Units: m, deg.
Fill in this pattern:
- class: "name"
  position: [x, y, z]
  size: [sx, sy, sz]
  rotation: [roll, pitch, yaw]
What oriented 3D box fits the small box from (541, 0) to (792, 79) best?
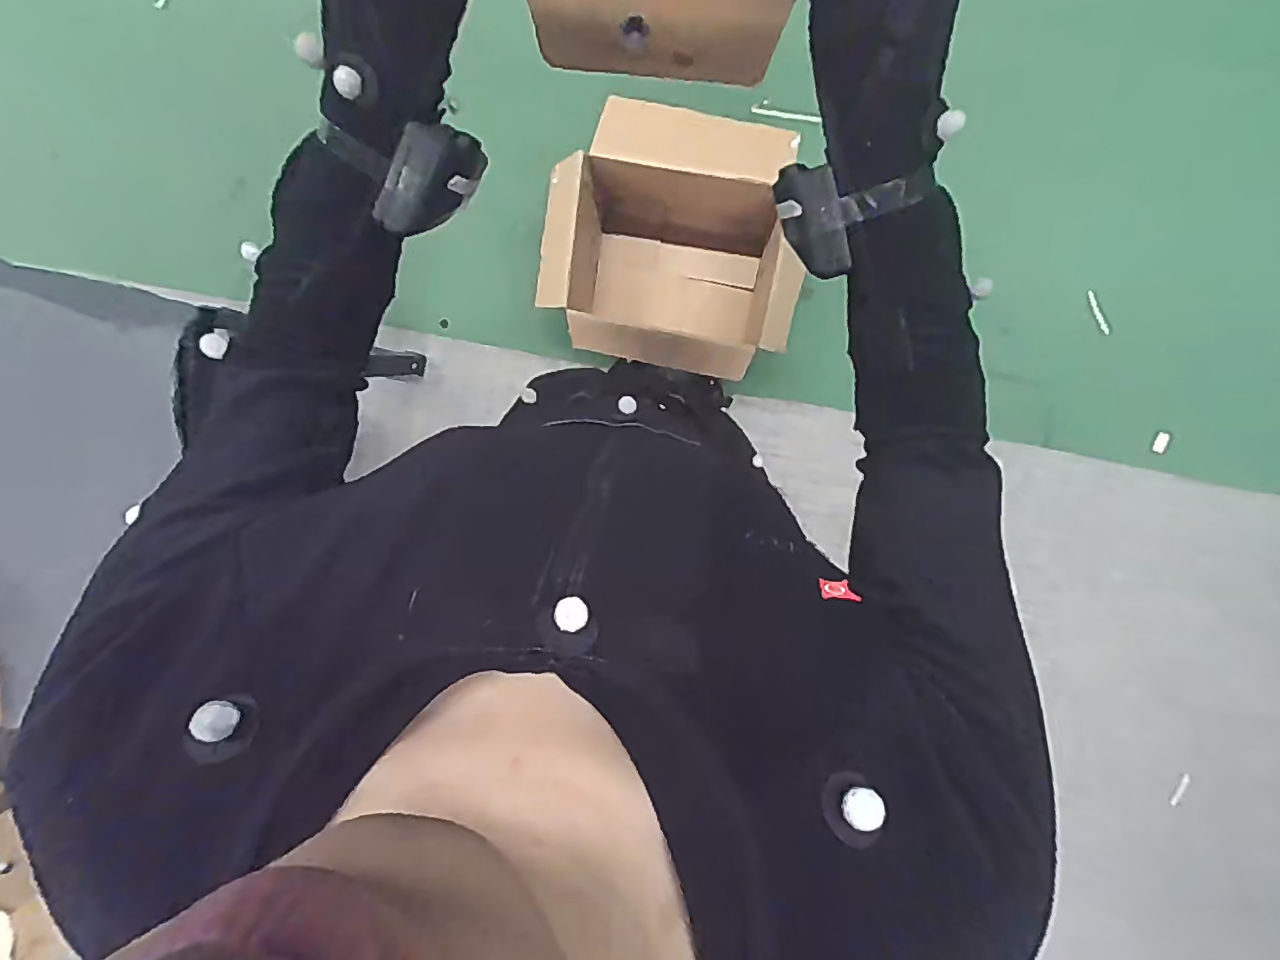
- class: "small box"
  position: [0.019, -0.379, 0.313]
  size: [0.168, 0.176, 0.179]
  rotation: [4, 103, -1]
